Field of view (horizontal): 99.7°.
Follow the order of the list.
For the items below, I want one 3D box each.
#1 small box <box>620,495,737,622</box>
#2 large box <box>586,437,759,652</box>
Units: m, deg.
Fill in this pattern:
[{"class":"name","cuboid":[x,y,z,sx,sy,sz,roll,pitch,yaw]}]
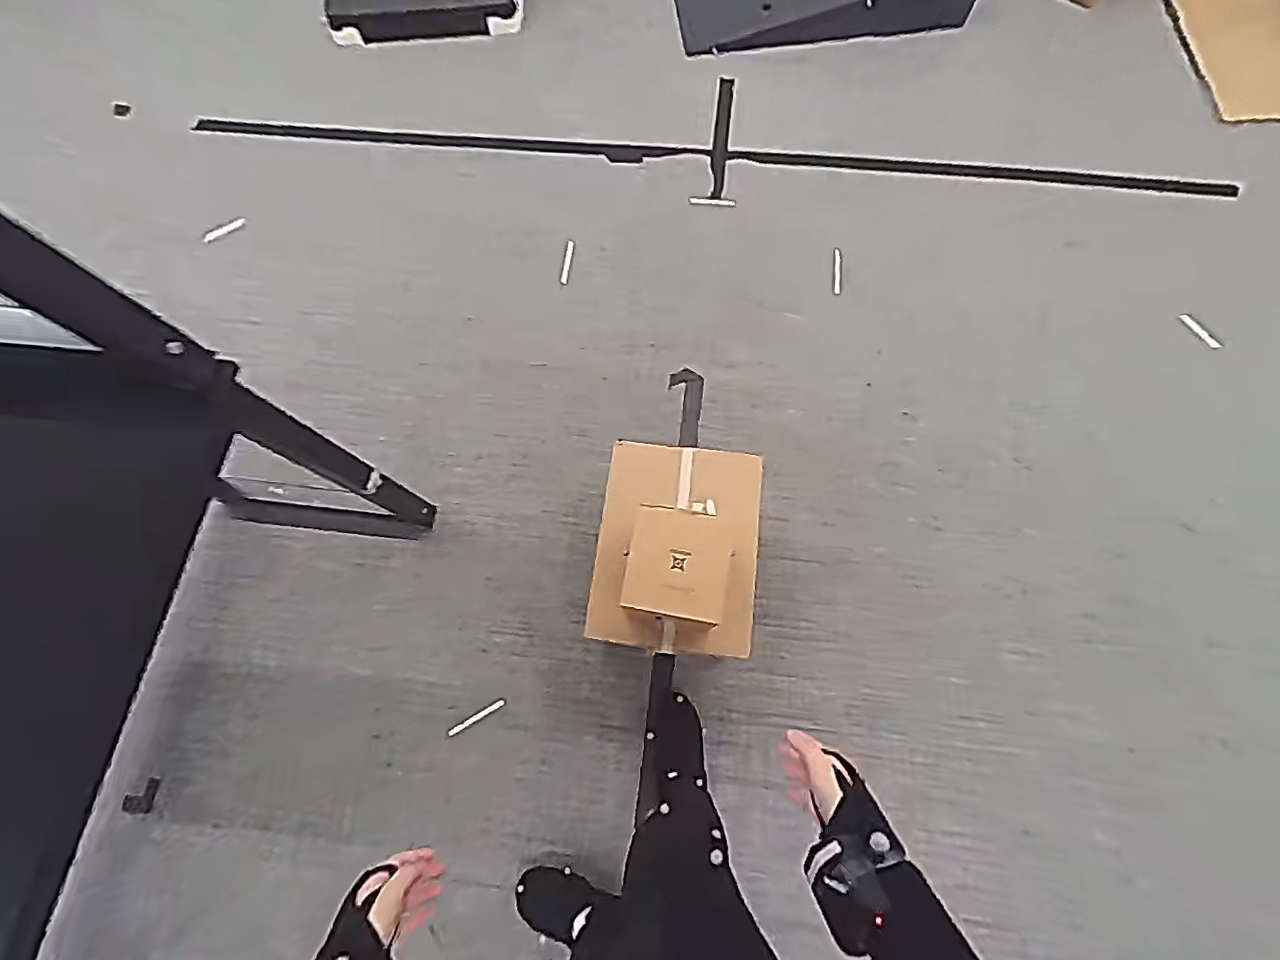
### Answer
[{"class":"small box","cuboid":[0.065,0.145,0.948,0.168,0.176,0.179,10,74,5]},{"class":"large box","cuboid":[0.074,0.159,1.201,0.320,0.320,0.408,7,72,2]}]
